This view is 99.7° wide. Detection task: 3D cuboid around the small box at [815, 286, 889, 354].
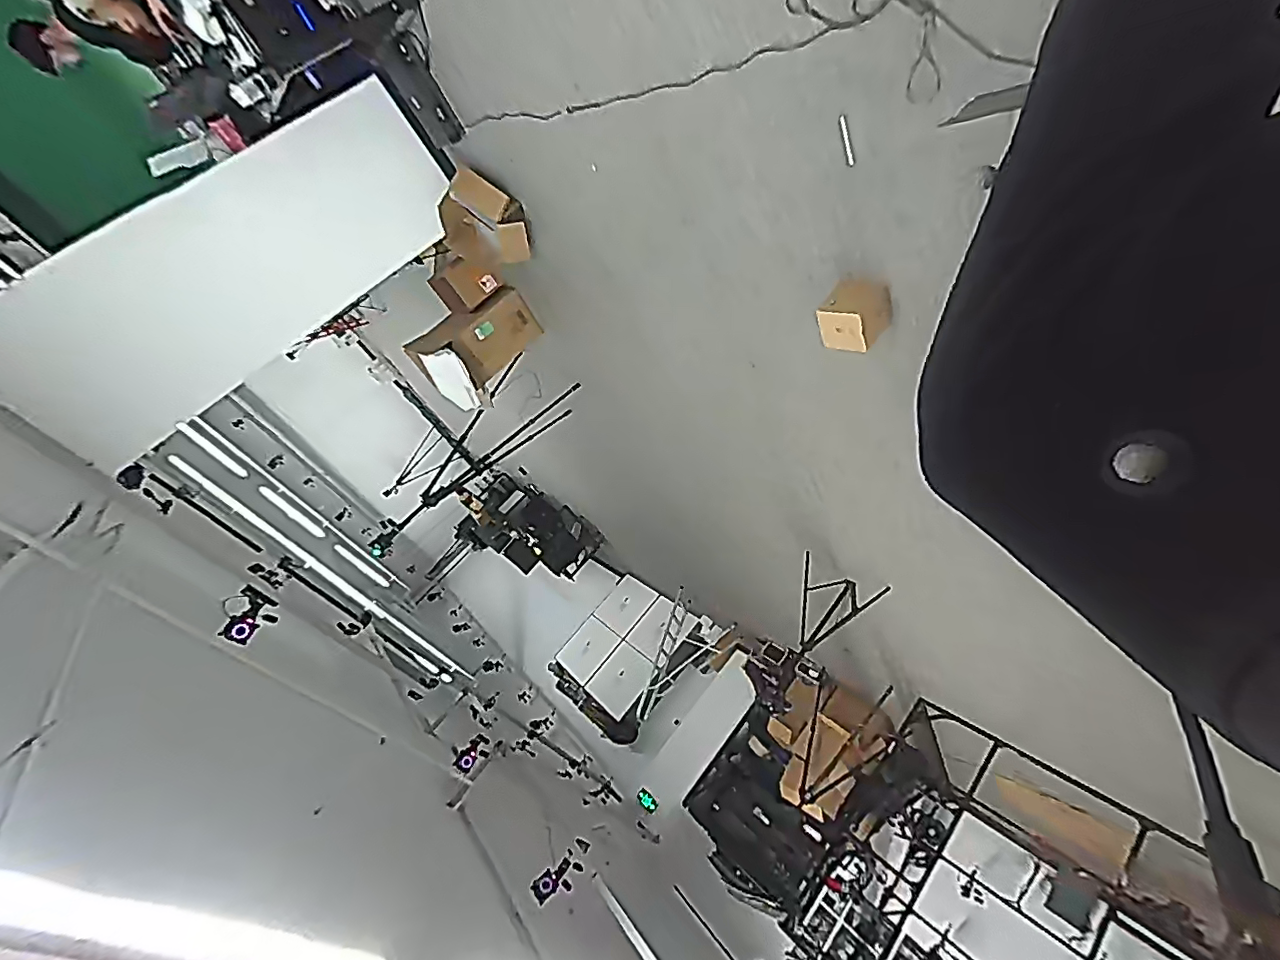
[{"bbox_3d":[0.768,-0.583,1.953,0.179,0.176,0.168,24,155,45],"label":"small box"}]
